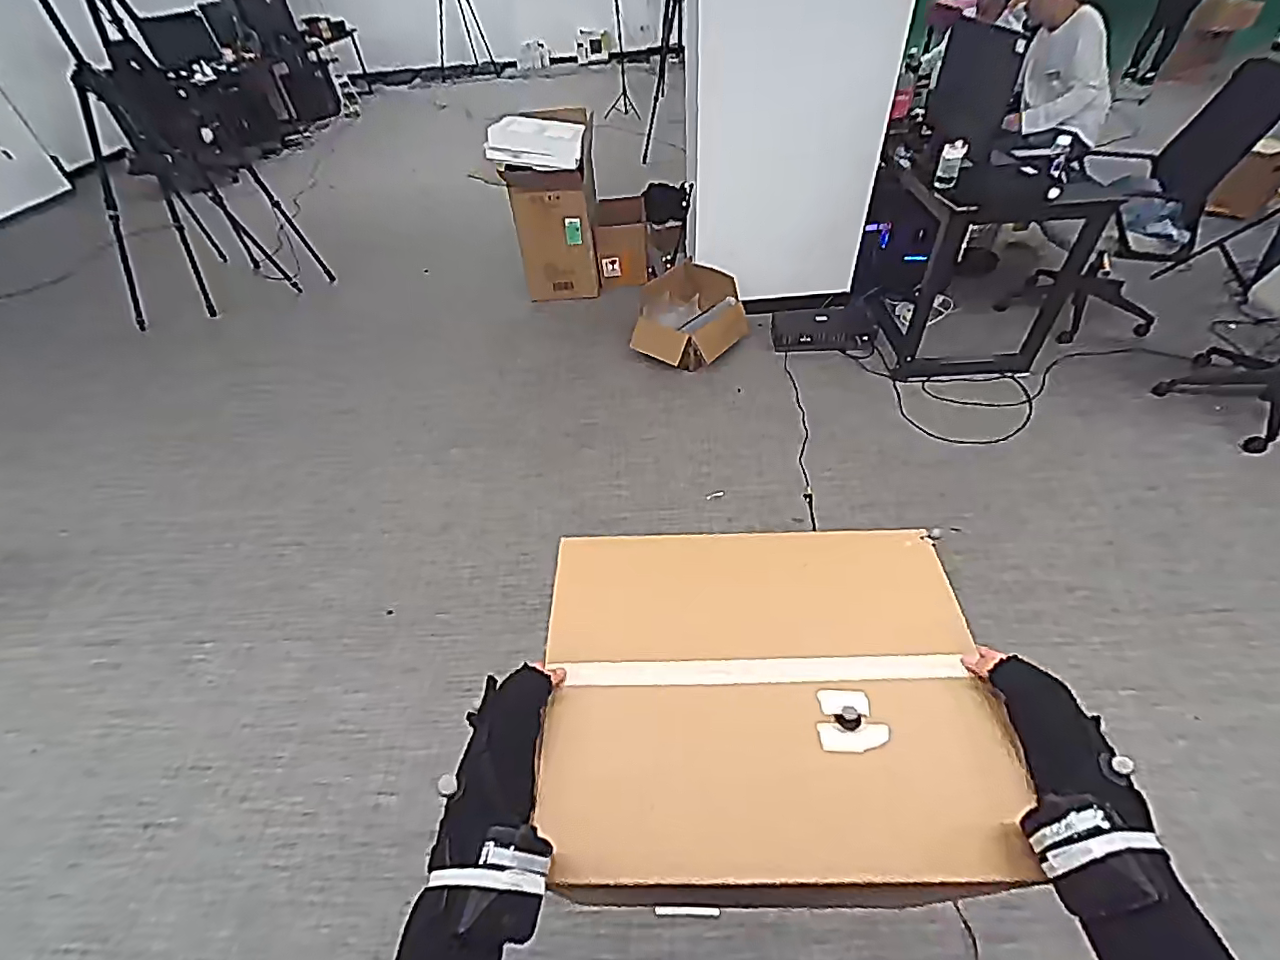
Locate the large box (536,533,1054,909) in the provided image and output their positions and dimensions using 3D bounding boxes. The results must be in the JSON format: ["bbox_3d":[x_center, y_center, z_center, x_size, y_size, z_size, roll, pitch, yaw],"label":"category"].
[{"bbox_3d":[0.118,0.279,0.618,0.408,0.320,0.320,-1,49,1],"label":"large box"}]
